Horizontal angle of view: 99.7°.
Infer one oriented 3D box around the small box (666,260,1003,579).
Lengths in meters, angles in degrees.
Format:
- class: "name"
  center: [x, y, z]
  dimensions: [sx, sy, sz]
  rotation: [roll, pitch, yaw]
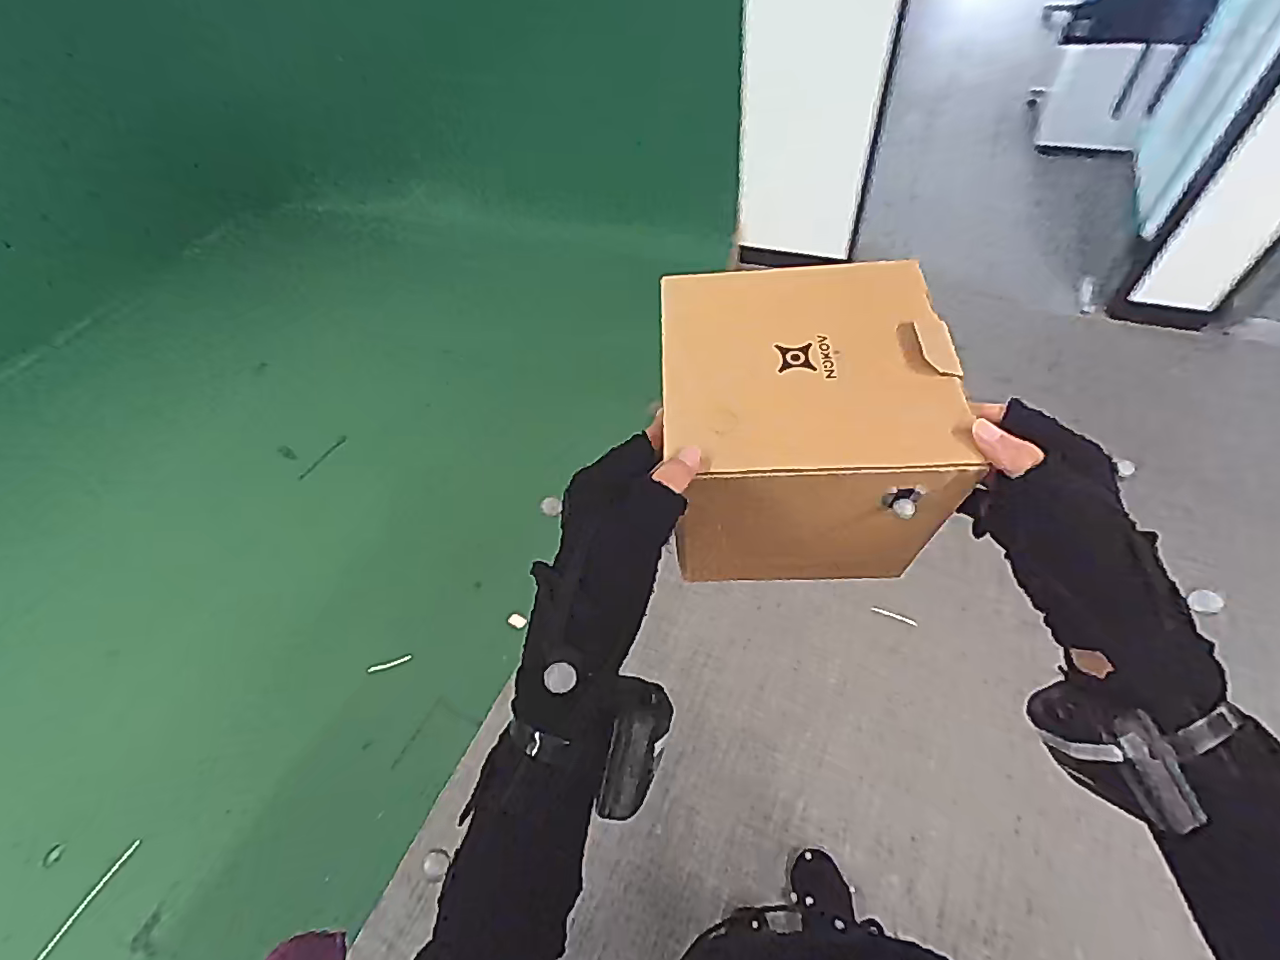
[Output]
- class: "small box"
  center: [0.112, -0.032, 0.395]
  dimensions: [0.179, 0.176, 0.168]
  rotation: [-2, 59, 5]
